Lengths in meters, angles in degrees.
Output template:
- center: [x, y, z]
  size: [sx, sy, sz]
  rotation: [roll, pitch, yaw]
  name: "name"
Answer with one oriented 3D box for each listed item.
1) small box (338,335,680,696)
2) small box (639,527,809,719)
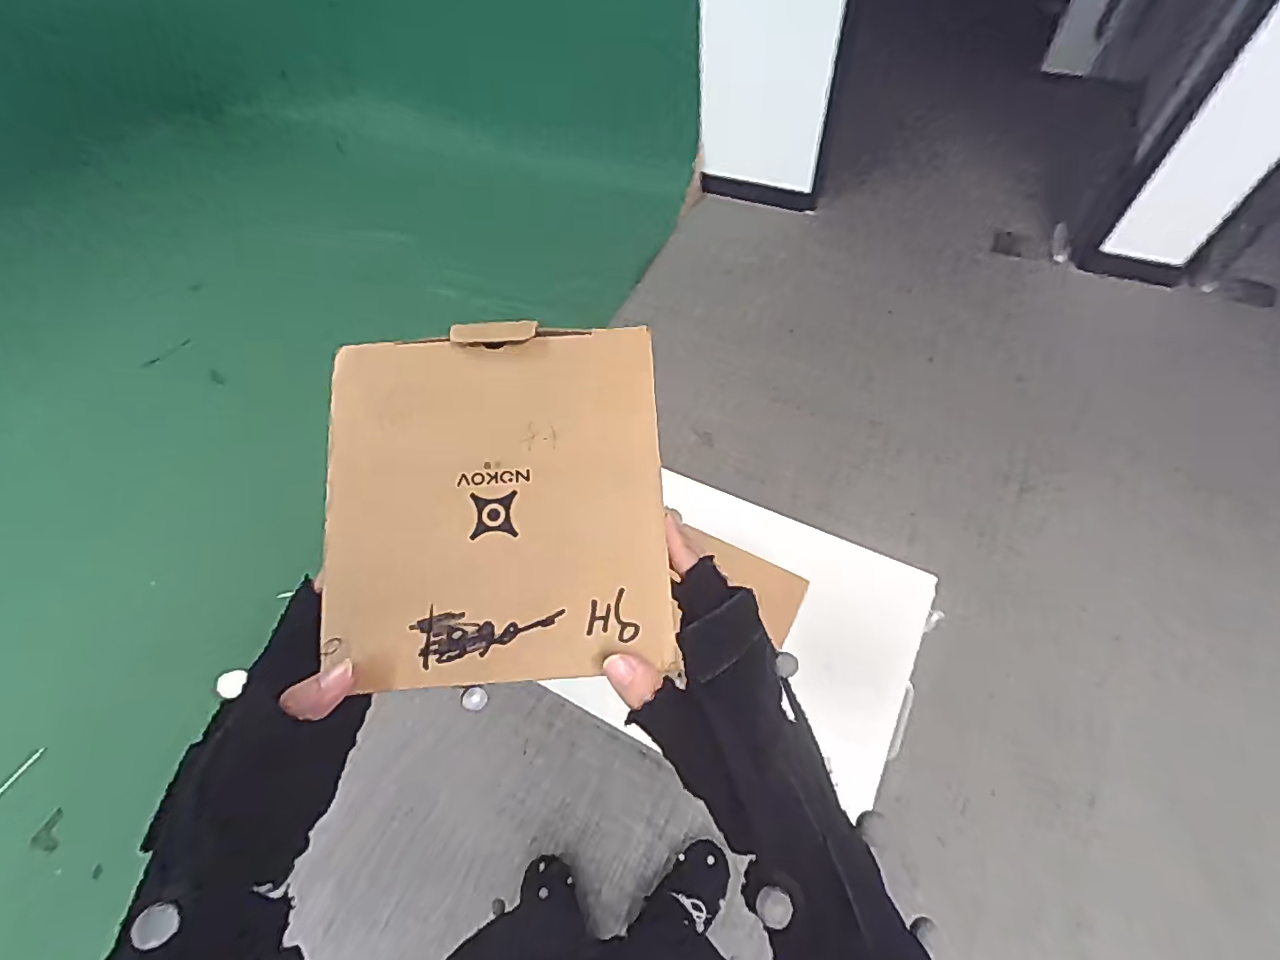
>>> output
- center: [-0.072, 0.029, 0.356]
  size: [0.168, 0.176, 0.179]
  rotation: [-7, 77, -2]
  name: "small box"
- center: [0.098, 0.195, 0.715]
  size: [0.179, 0.176, 0.168]
  rotation: [24, 65, 18]
  name: "small box"
